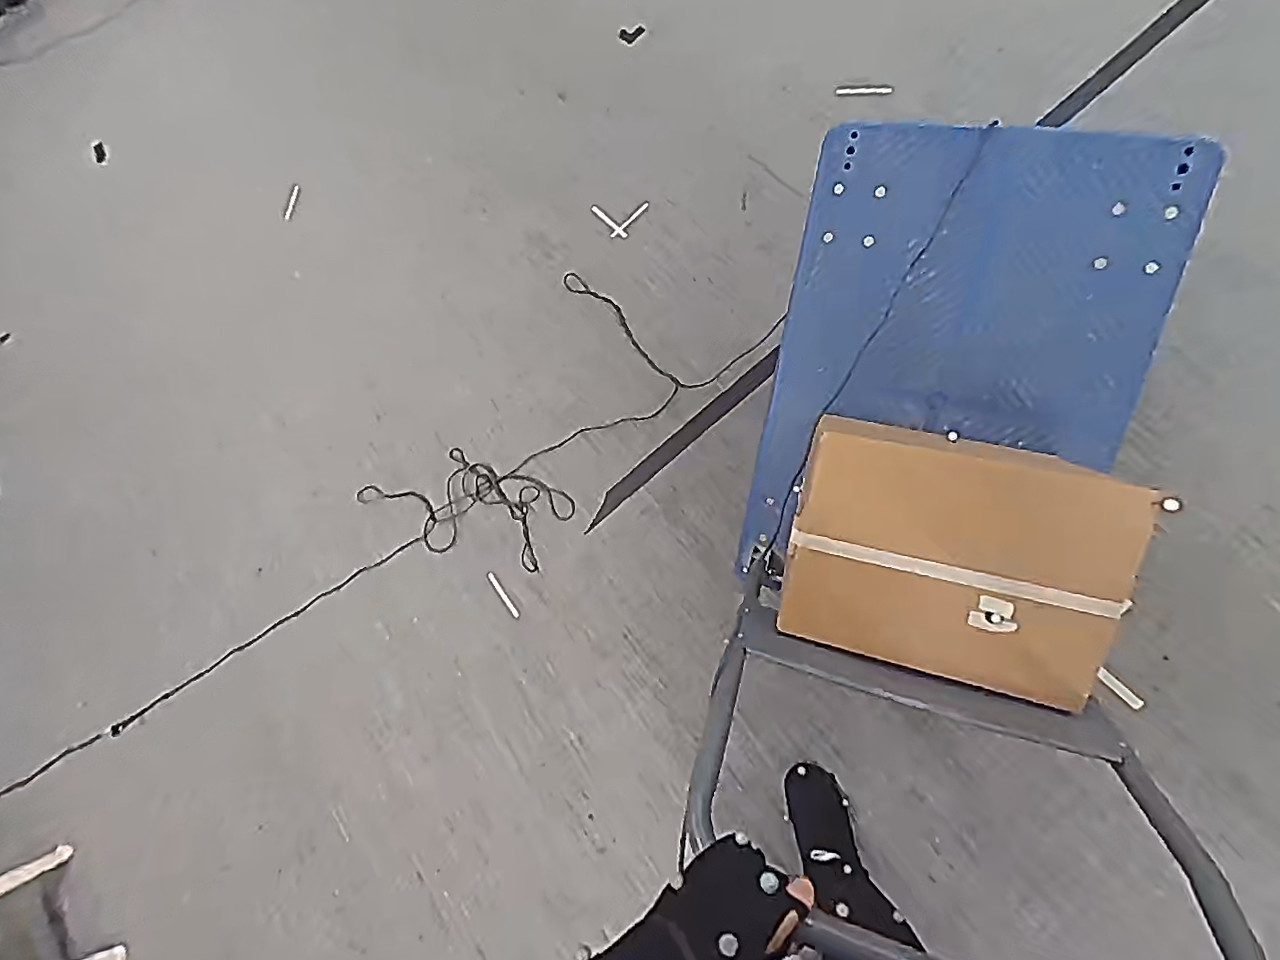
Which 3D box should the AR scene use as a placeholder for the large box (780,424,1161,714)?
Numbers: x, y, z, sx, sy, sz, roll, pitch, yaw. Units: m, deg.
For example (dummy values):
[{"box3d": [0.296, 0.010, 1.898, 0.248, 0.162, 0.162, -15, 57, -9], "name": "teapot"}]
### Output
[{"box3d": [0.458, 0.101, 0.871, 0.408, 0.320, 0.320, 13, 105, 14], "name": "large box"}]
